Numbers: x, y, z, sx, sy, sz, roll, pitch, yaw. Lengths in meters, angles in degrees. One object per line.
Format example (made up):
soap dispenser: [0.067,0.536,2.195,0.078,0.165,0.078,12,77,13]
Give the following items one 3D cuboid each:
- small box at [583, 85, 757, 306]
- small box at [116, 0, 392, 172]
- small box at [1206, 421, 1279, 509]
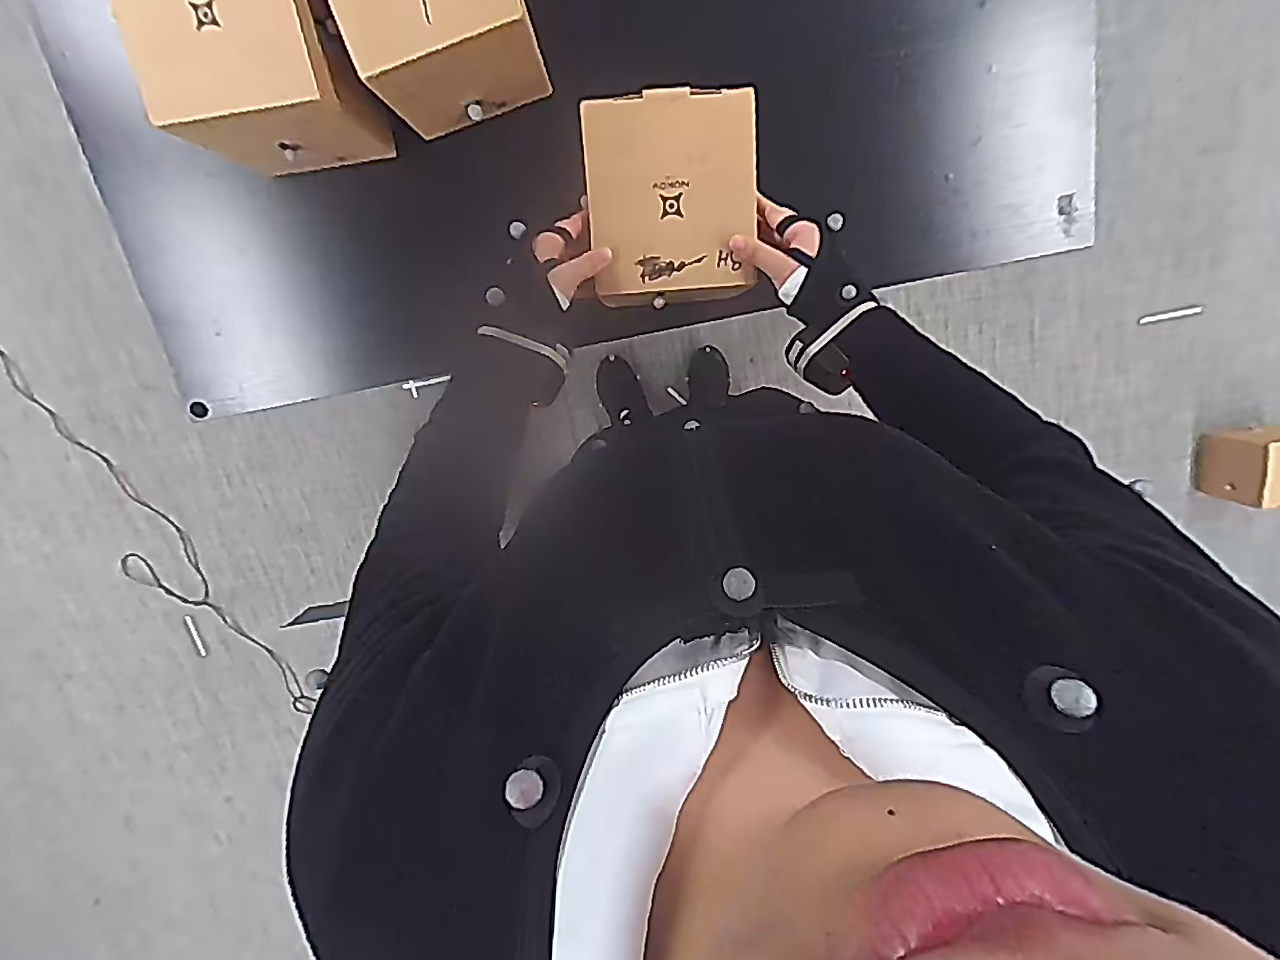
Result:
small box: [0.032,-0.297,0.601,0.168,0.176,0.179,-4,103,2]
small box: [-0.388,-0.445,0.568,0.168,0.176,0.179,-8,104,2]
small box: [1.633,-0.044,1.401,0.168,0.176,0.179,-11,104,3]
